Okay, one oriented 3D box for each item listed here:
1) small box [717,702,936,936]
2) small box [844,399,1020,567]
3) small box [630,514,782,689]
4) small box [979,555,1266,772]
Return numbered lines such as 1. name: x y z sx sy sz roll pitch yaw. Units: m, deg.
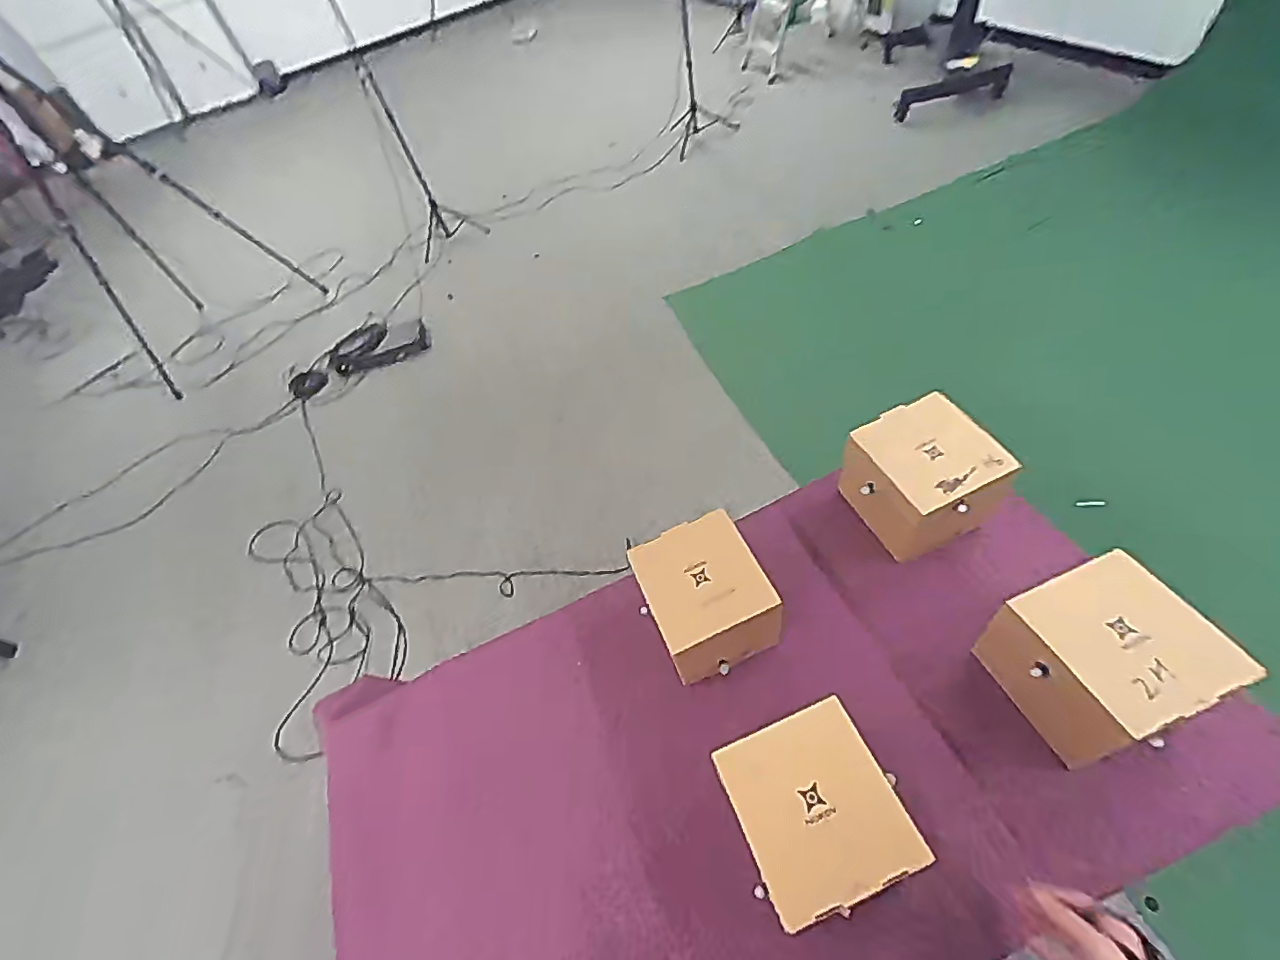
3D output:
1. small box: 0.204 0.401 0.641 0.168 0.176 0.179 -23 51 -5
2. small box: 0.452 0.008 0.875 0.168 0.176 0.179 -25 53 -3
3. small box: 0.100 0.189 0.828 0.168 0.176 0.179 -24 53 -4
4. small box: 0.570 0.232 0.676 0.168 0.176 0.179 -24 50 -3
